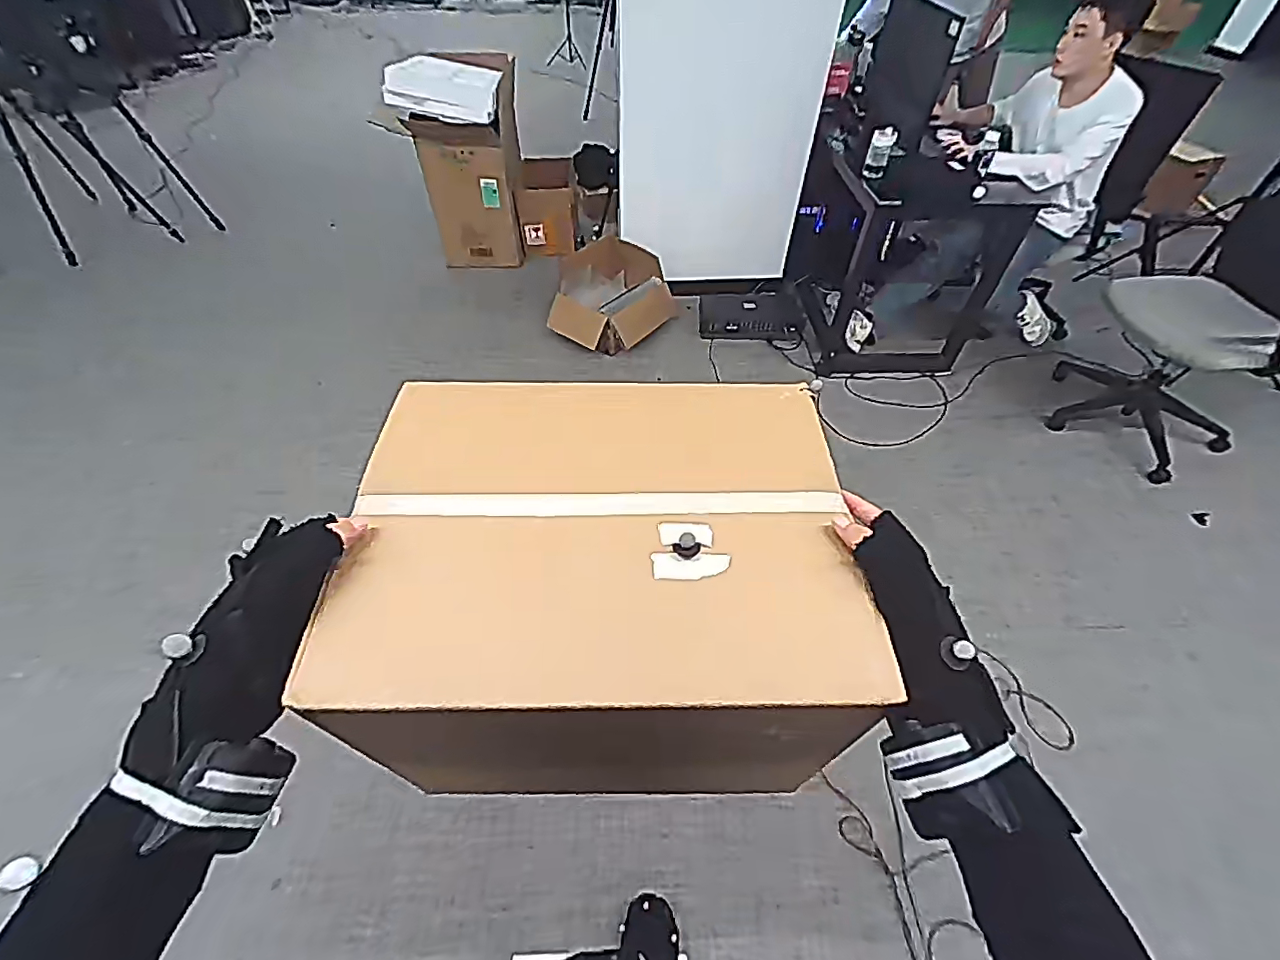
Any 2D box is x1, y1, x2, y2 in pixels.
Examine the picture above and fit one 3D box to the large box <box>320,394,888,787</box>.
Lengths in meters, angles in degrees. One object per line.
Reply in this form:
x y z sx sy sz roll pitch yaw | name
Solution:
-0.030 0.123 0.581 0.408 0.320 0.320 0 51 -1 | large box
